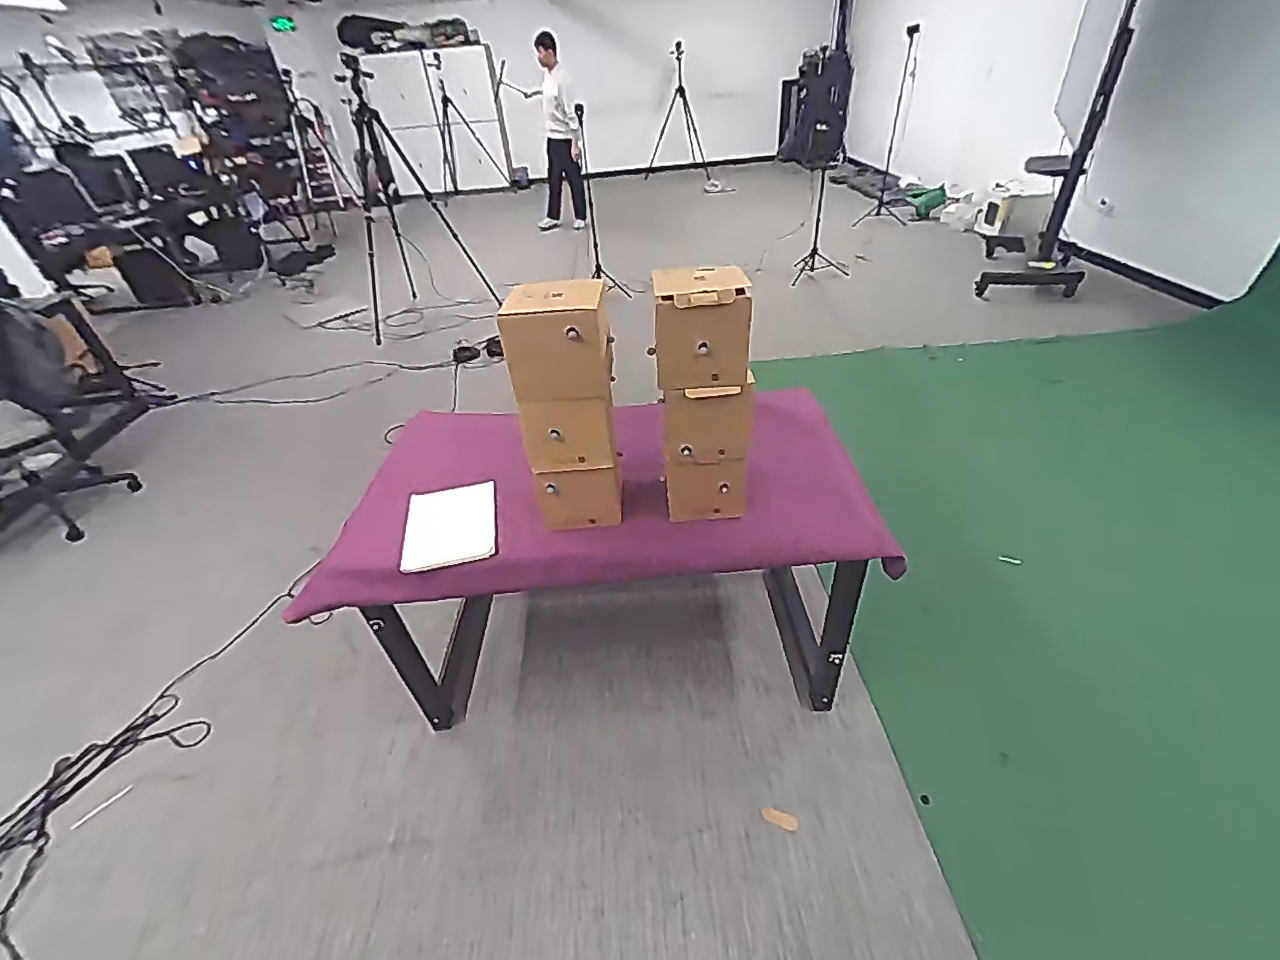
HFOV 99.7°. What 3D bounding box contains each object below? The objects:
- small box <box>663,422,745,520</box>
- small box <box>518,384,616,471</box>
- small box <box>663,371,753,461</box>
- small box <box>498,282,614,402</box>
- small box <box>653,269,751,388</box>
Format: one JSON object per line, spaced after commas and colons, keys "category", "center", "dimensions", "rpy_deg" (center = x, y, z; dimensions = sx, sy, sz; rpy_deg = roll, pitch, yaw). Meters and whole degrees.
{"category": "small box", "center": [0.141, -0.022, 1.215], "dimensions": [0.168, 0.176, 0.179], "rpy_deg": [-3, 36, 1]}
{"category": "small box", "center": [-0.141, -0.129, 1.118], "dimensions": [0.168, 0.176, 0.179], "rpy_deg": [-4, 36, 2]}
{"category": "small box", "center": [0.134, -0.150, 1.113], "dimensions": [0.168, 0.176, 0.179], "rpy_deg": [-4, 36, 0]}
{"category": "small box", "center": [-0.145, -0.258, 1.014], "dimensions": [0.179, 0.176, 0.168], "rpy_deg": [-3, 36, 4]}
{"category": "small box", "center": [0.111, -0.281, 1.015], "dimensions": [0.168, 0.176, 0.179], "rpy_deg": [-2, 38, 1]}
